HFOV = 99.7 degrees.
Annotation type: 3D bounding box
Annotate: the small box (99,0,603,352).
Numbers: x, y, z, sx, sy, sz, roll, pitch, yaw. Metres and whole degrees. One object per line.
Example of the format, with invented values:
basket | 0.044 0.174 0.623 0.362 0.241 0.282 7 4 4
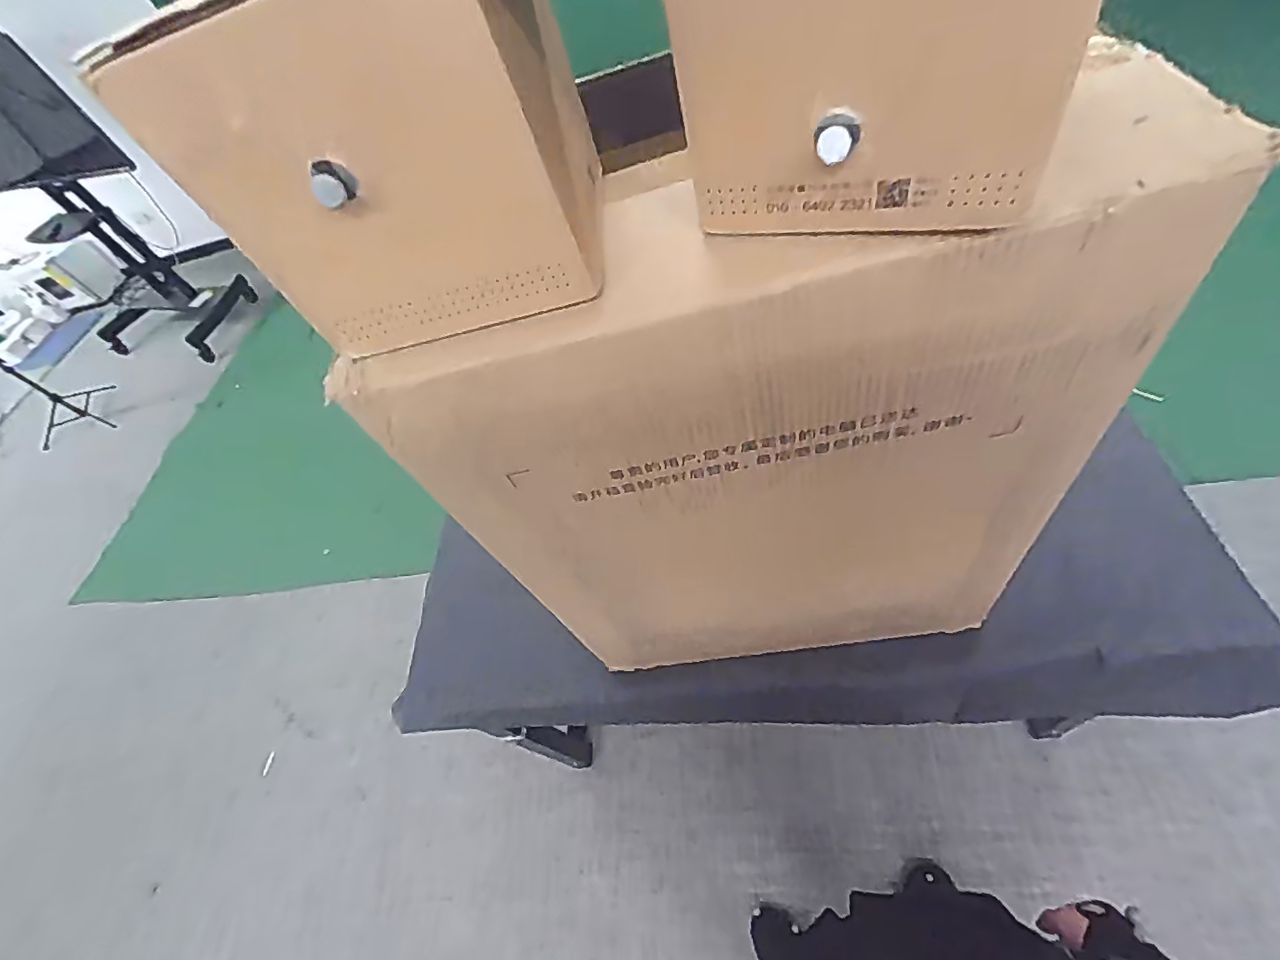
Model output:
small box | -0.133 -0.201 0.325 0.179 0.176 0.168 -11 54 12
